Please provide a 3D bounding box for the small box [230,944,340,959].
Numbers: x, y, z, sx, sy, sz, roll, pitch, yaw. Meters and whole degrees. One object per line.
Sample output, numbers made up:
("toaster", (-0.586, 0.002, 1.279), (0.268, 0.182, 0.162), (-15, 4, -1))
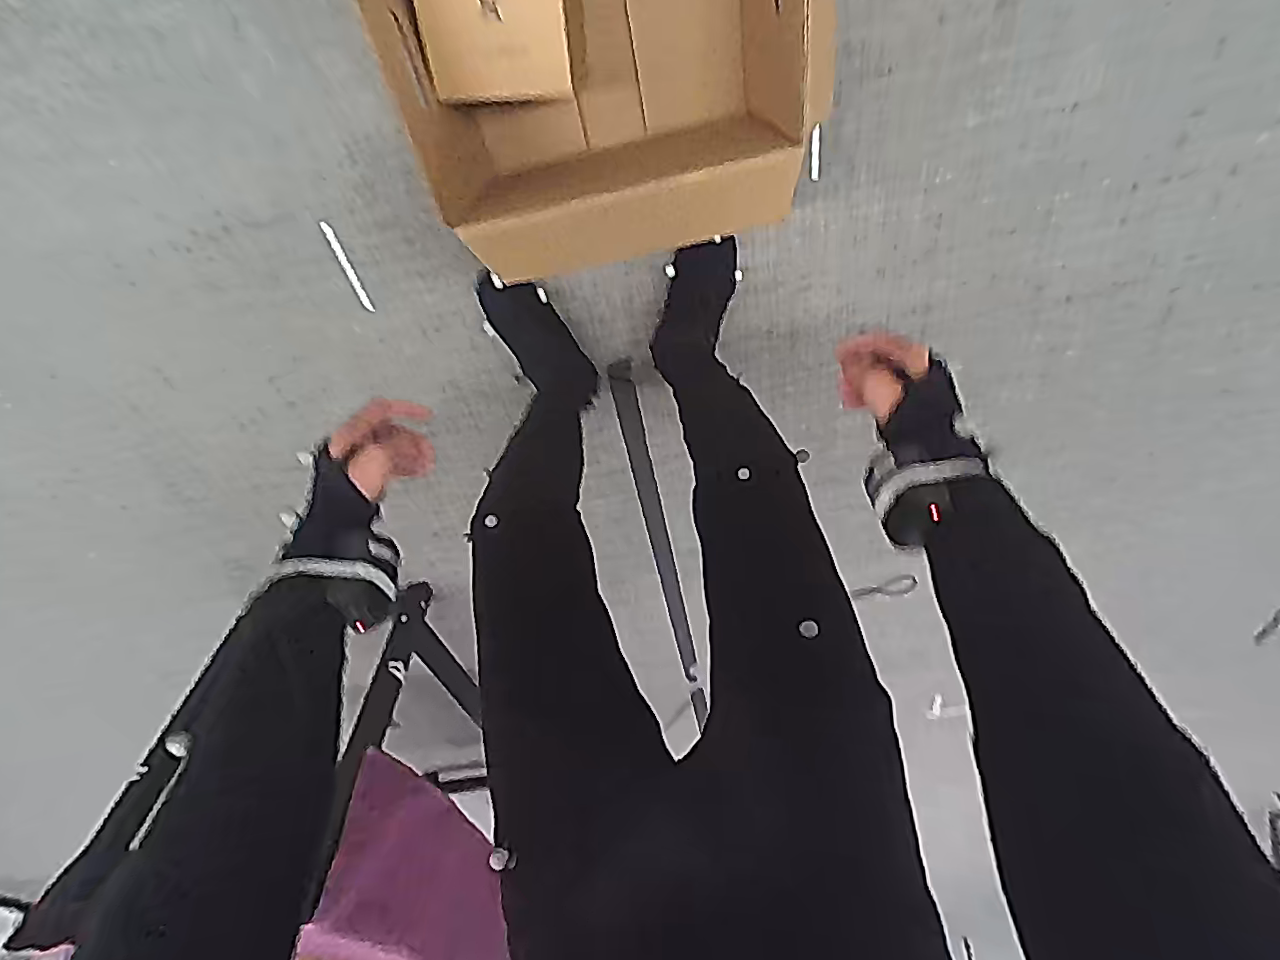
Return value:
("small box", (-0.735, 1.051, 1.080), (0.179, 0.176, 0.168), (-14, 129, 11))
